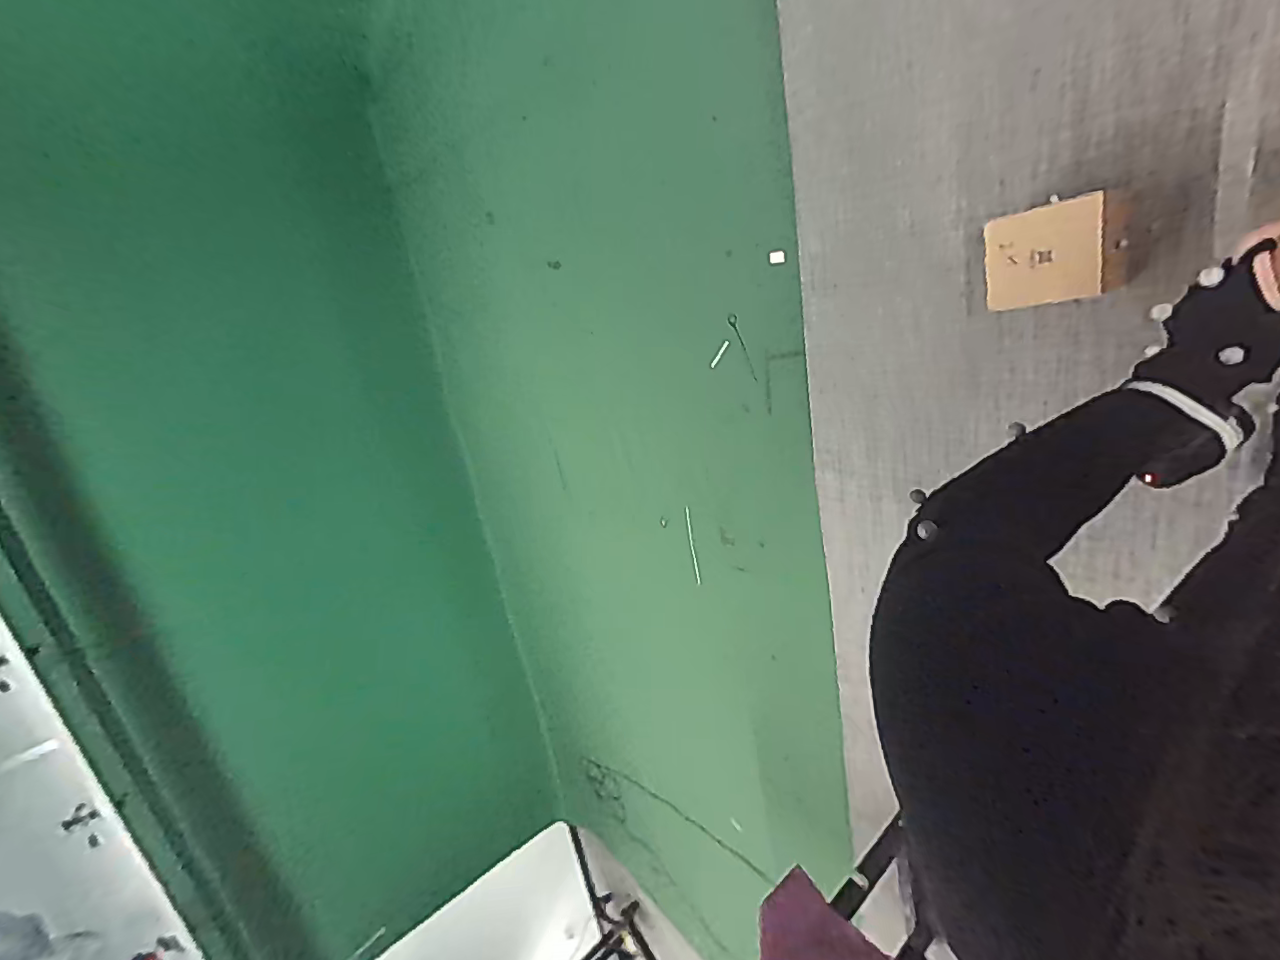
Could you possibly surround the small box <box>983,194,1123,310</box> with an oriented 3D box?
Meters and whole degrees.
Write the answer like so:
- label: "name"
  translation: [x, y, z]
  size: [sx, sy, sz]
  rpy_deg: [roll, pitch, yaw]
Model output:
- label: "small box"
  translation: [0.775, -0.426, 1.015]
  size: [0.179, 0.176, 0.168]
  rpy_deg: [9, 114, 52]
